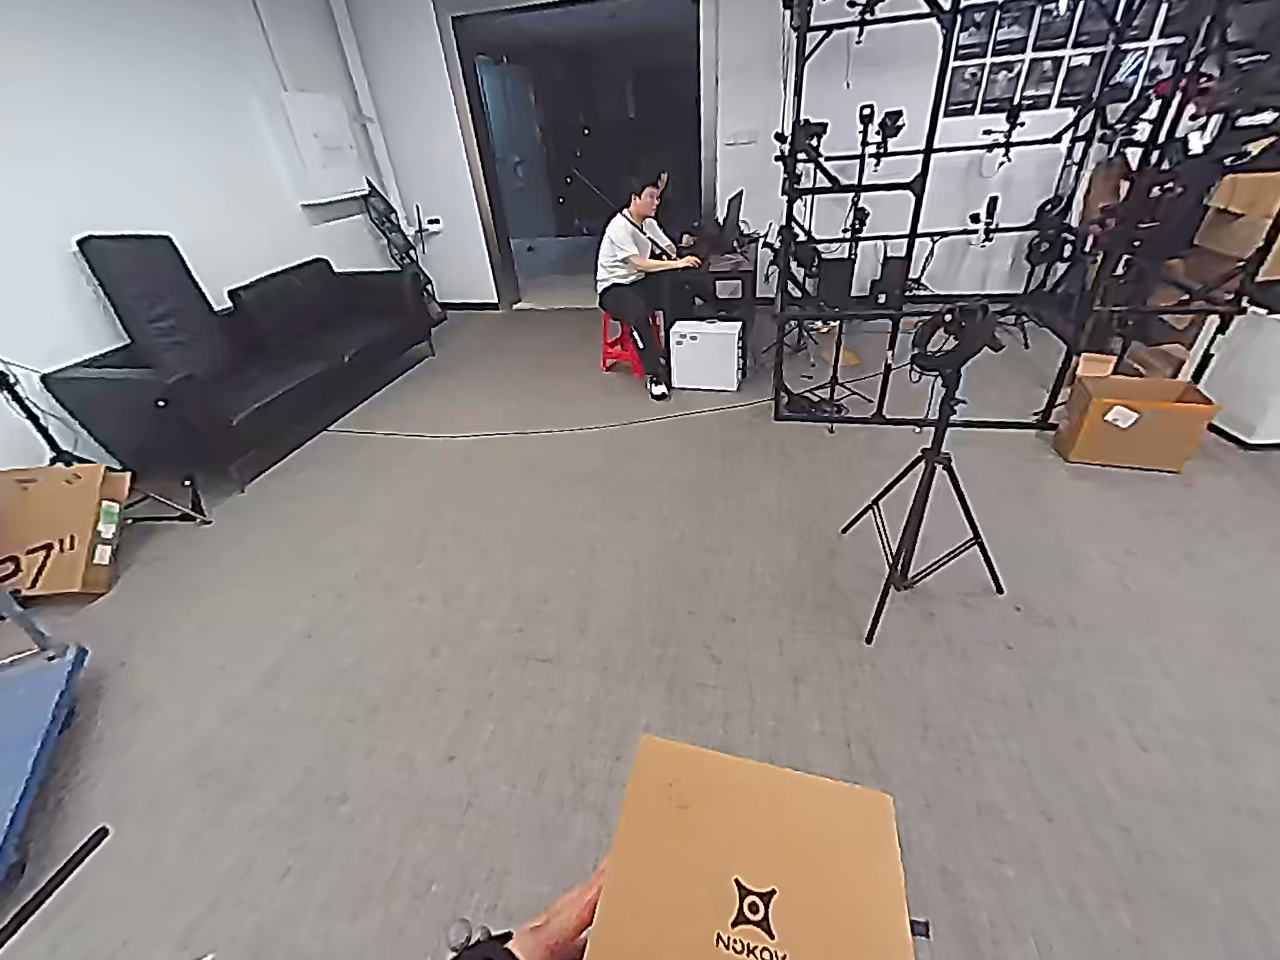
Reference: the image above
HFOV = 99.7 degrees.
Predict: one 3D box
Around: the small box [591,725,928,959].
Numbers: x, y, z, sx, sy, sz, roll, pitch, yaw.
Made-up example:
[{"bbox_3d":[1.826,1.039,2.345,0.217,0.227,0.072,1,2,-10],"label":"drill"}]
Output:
[{"bbox_3d":[0.062,0.291,0.330,0.168,0.176,0.179,8,35,10],"label":"small box"}]
